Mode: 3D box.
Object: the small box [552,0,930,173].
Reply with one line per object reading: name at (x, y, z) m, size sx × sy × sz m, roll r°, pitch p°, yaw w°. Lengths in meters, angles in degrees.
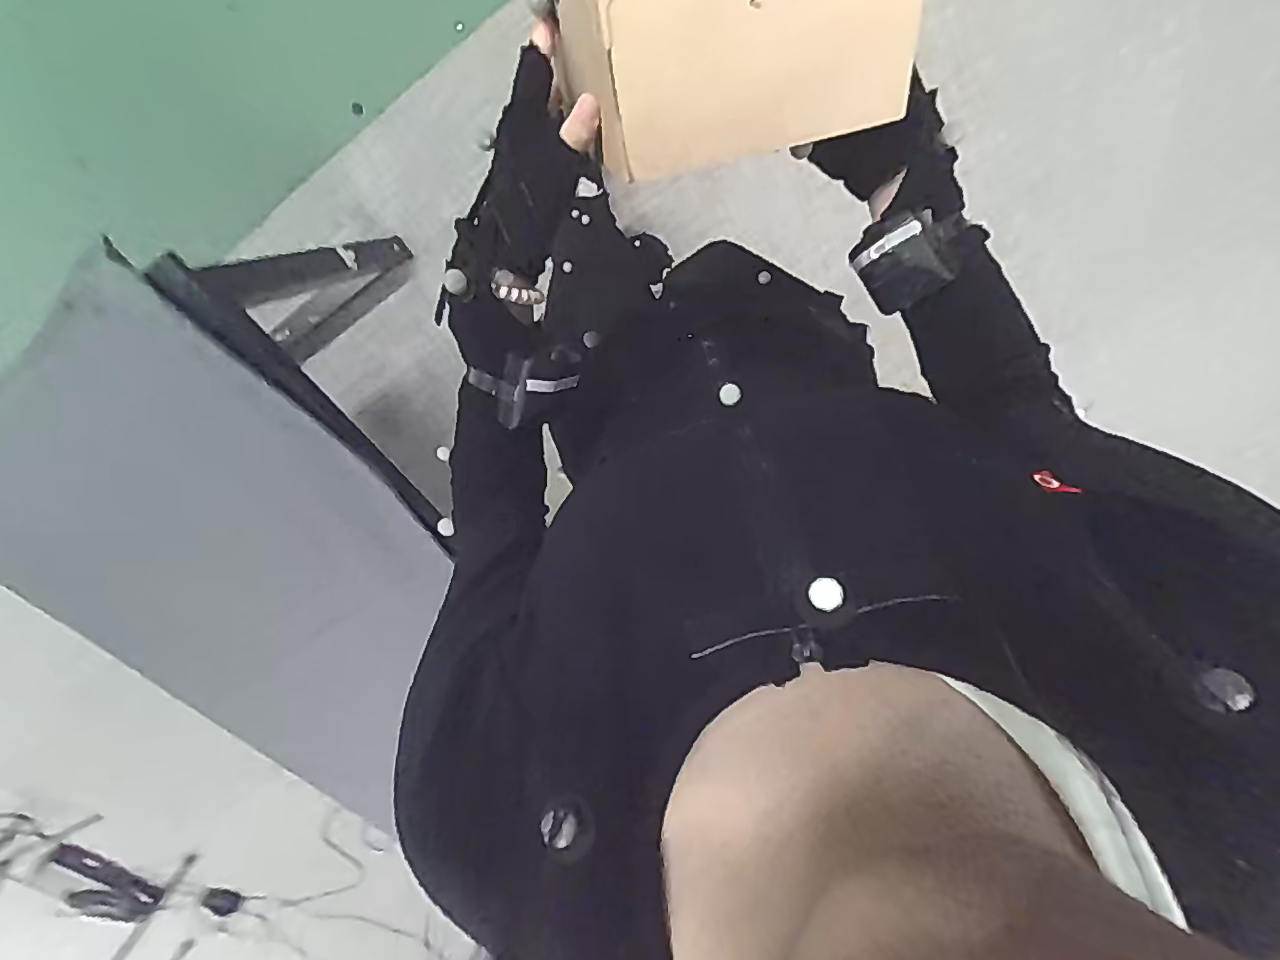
small box at (0.046, -0.301, 0.316) m, size 0.179 × 0.176 × 0.168 m, roll -16°, pitch 131°, yaw -7°
